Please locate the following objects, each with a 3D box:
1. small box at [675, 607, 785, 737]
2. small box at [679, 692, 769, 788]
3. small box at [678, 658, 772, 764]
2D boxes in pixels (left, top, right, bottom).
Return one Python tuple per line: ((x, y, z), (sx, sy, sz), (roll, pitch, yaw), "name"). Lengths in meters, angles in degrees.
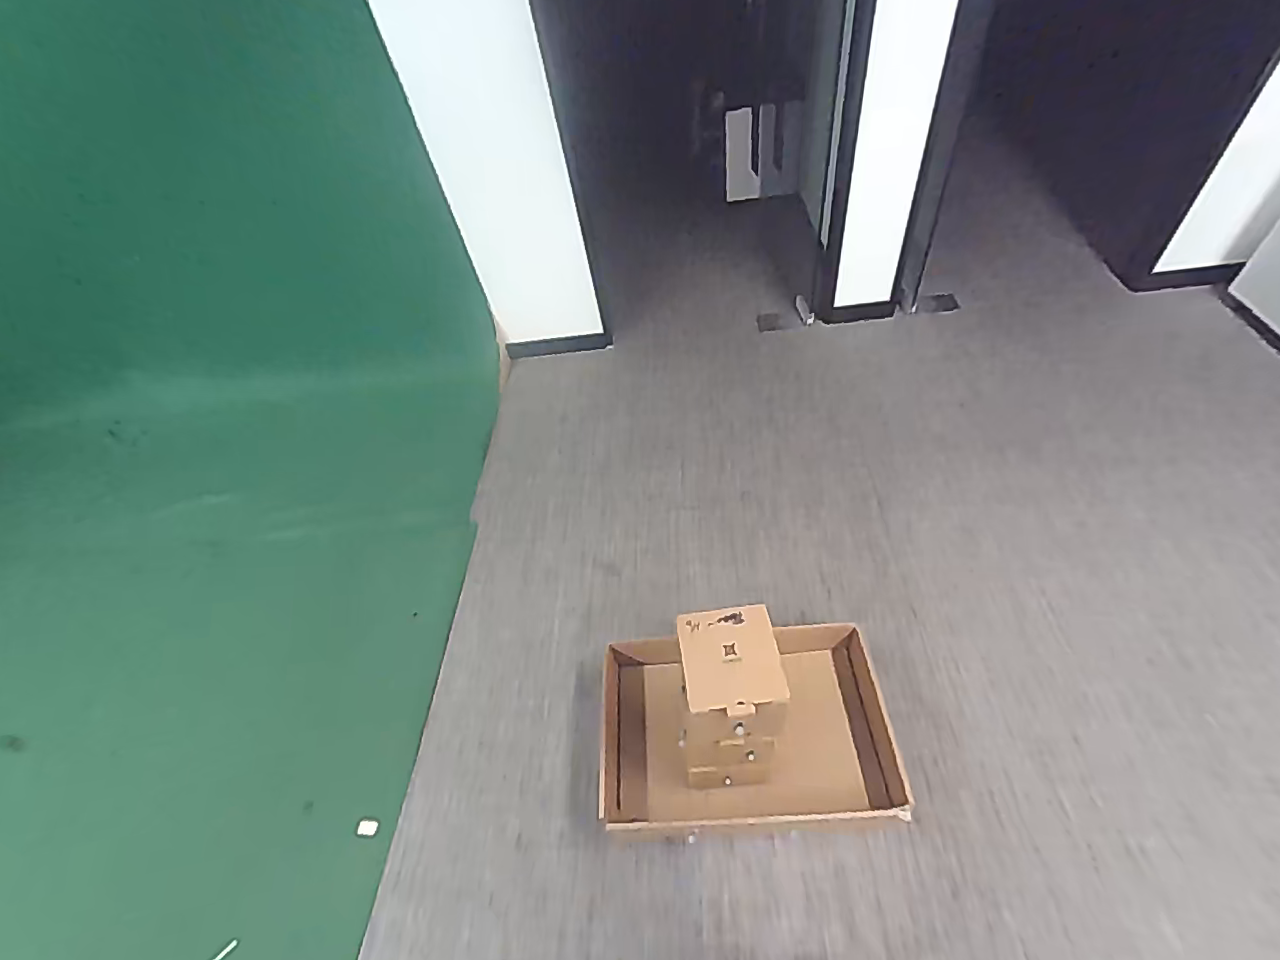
((0.157, 0.353, 0.977), (0.168, 0.176, 0.179), (-6, 49, 2), "small box")
((0.184, 0.577, 1.211), (0.179, 0.176, 0.168), (-7, 48, 5), "small box")
((0.168, 0.465, 1.097), (0.168, 0.176, 0.179), (-4, 47, 3), "small box")
